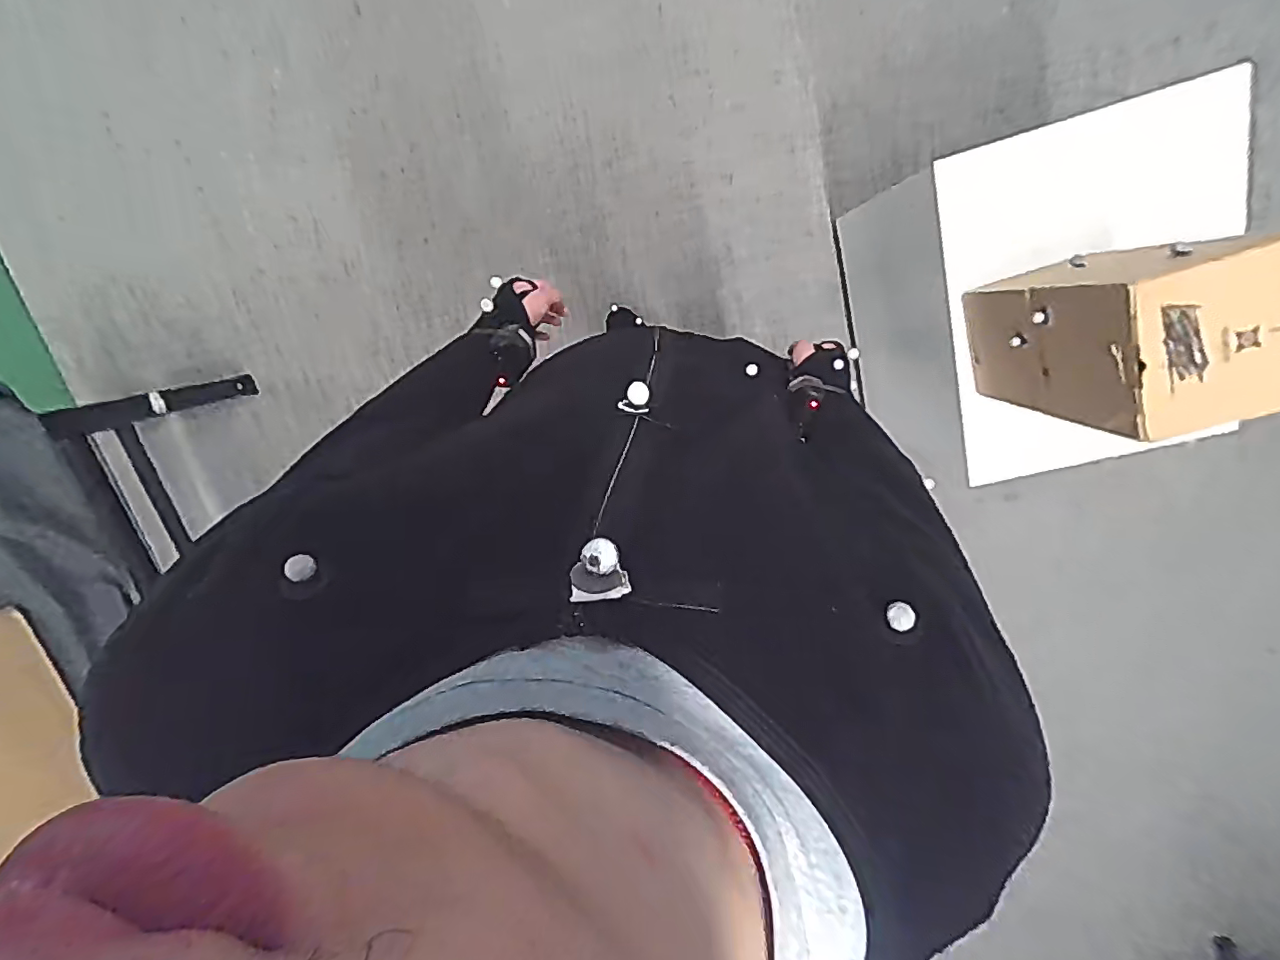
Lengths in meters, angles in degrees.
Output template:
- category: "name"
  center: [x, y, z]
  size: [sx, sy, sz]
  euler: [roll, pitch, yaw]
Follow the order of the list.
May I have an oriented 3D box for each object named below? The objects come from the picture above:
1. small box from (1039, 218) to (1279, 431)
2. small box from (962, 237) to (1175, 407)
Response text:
- category: "small box"
  center: [0.577, -0.168, 0.593]
  size: [0.179, 0.176, 0.168]
  euler: [-17, 105, 8]
- category: "small box"
  center: [0.588, -0.217, 0.750]
  size: [0.179, 0.176, 0.168]
  euler: [-18, 104, 8]
